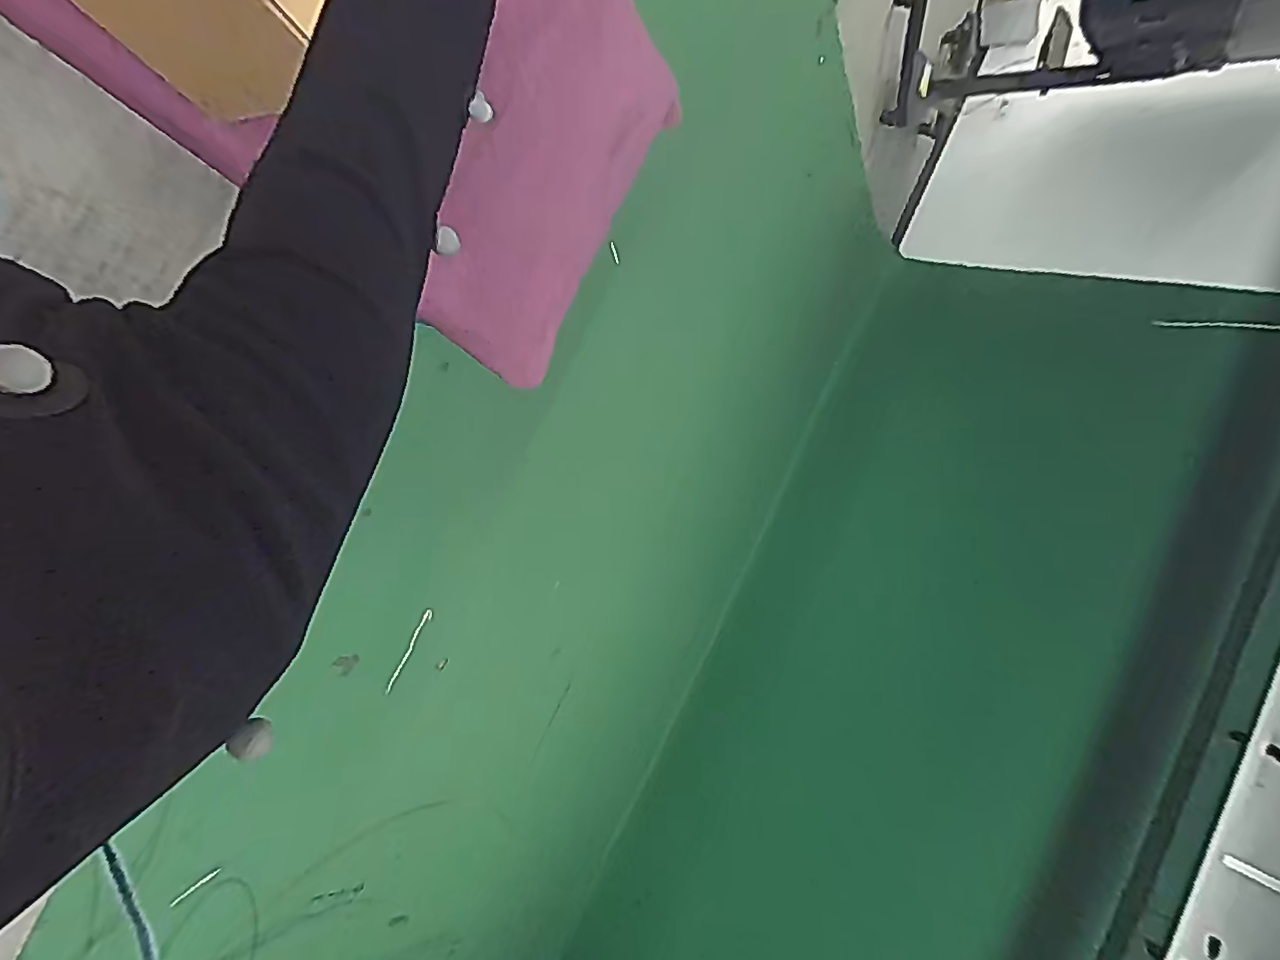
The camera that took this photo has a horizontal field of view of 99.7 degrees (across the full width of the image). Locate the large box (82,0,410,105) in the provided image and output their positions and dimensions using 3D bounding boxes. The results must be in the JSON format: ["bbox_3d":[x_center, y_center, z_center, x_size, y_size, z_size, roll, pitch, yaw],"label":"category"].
[{"bbox_3d":[-0.311,-0.566,0.387,0.408,0.320,0.320,-62,145,-7],"label":"large box"}]
